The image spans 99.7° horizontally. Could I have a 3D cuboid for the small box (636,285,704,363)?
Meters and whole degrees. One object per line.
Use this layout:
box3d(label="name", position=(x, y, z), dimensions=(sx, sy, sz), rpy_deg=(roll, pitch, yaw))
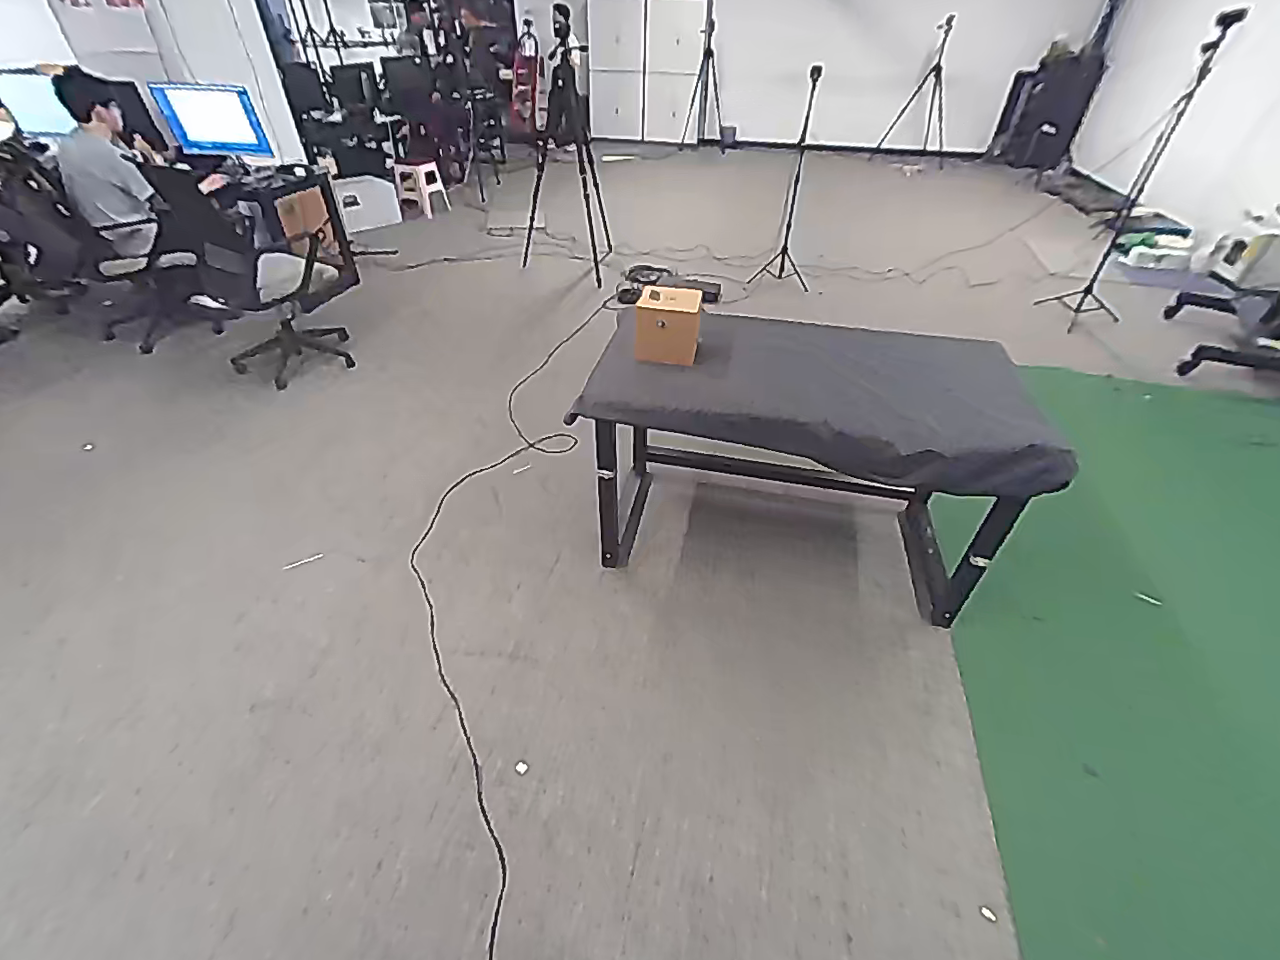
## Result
box3d(label="small box", position=(0.087, -0.461, 1.599), dimensions=(0.179, 0.176, 0.168), rpy_deg=(8, 41, 7))
